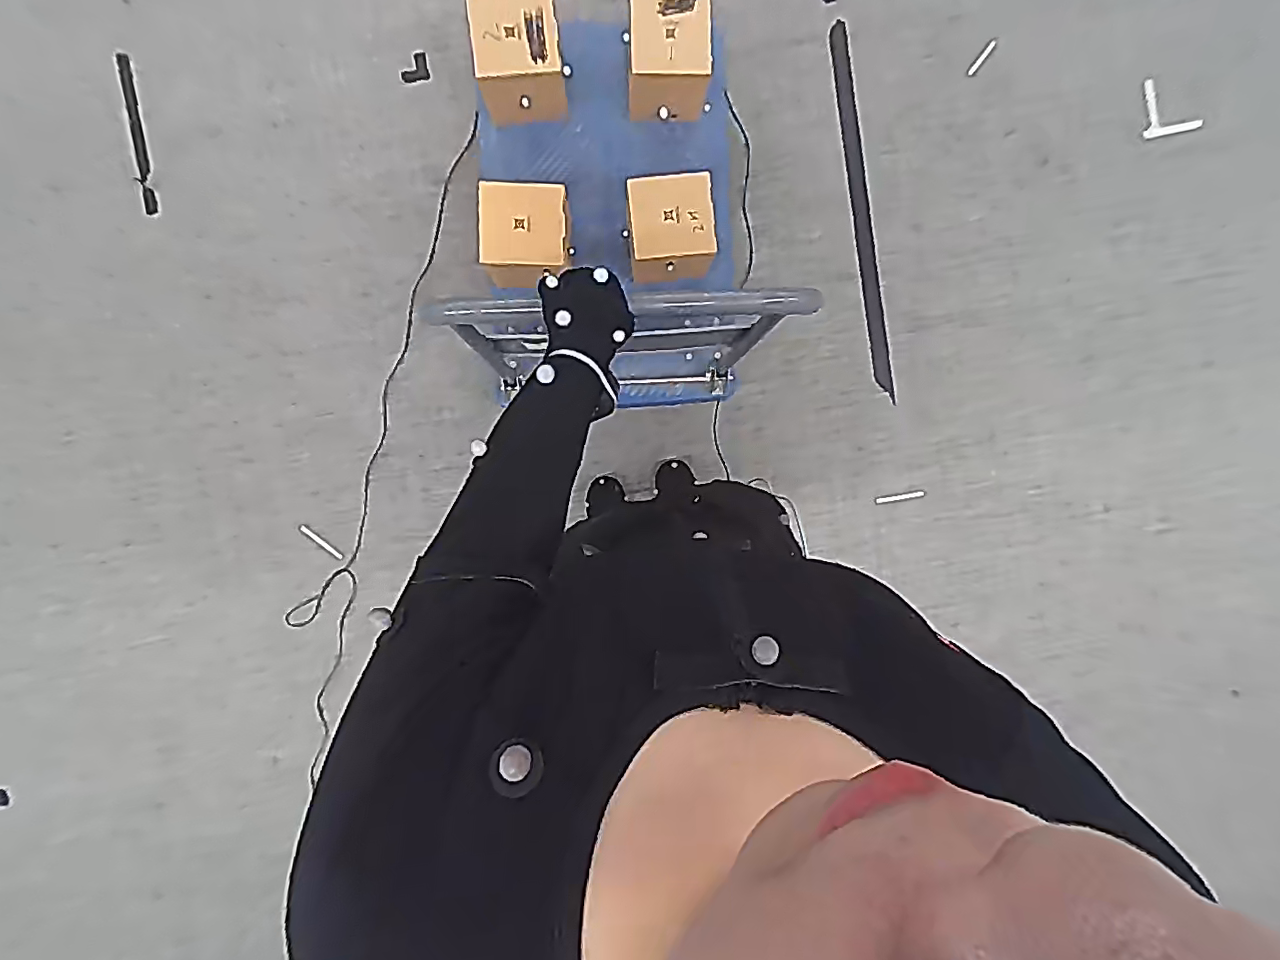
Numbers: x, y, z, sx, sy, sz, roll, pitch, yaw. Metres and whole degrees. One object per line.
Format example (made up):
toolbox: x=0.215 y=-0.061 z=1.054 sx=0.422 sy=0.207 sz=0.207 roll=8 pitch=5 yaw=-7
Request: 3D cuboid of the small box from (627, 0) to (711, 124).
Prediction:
small box: x=0.058 y=-0.916 z=1.176 sx=0.168 sy=0.176 sz=0.179 roll=-2 pitch=95 yaw=-3

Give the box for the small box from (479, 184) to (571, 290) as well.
small box: x=-0.245 y=-0.524 z=1.185 sx=0.179 sy=0.176 sz=0.168 roll=0 pitch=93 yaw=-4

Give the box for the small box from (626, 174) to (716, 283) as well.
small box: x=0.064 y=-0.548 z=1.198 sx=0.179 sy=0.176 sz=0.168 roll=-6 pitch=94 yaw=-2
